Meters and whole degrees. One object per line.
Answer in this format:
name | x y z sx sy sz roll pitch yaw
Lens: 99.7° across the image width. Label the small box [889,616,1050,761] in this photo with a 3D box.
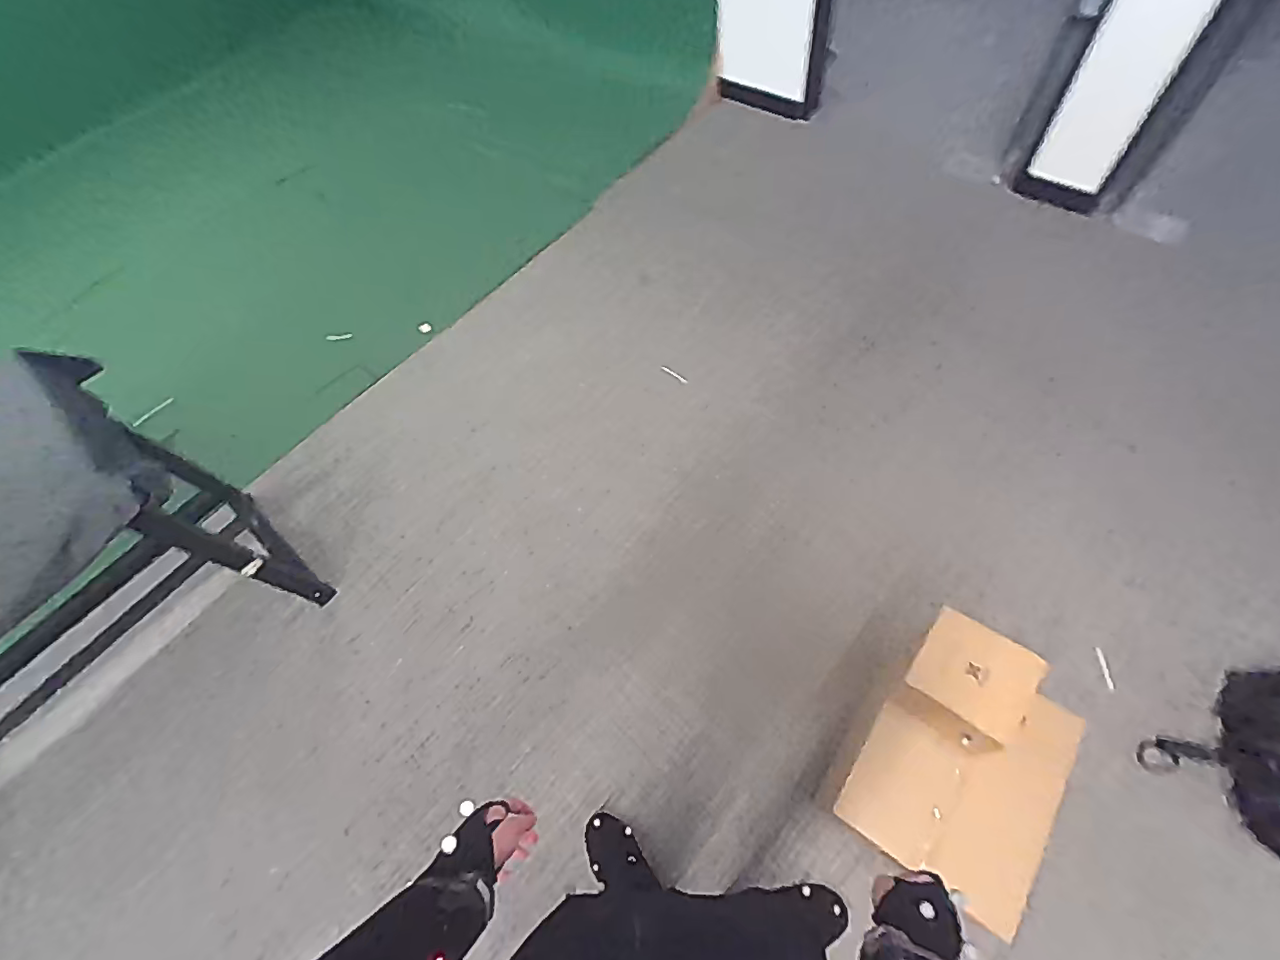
small box | 0.581 0.381 0.975 0.179 0.176 0.168 30 69 27
